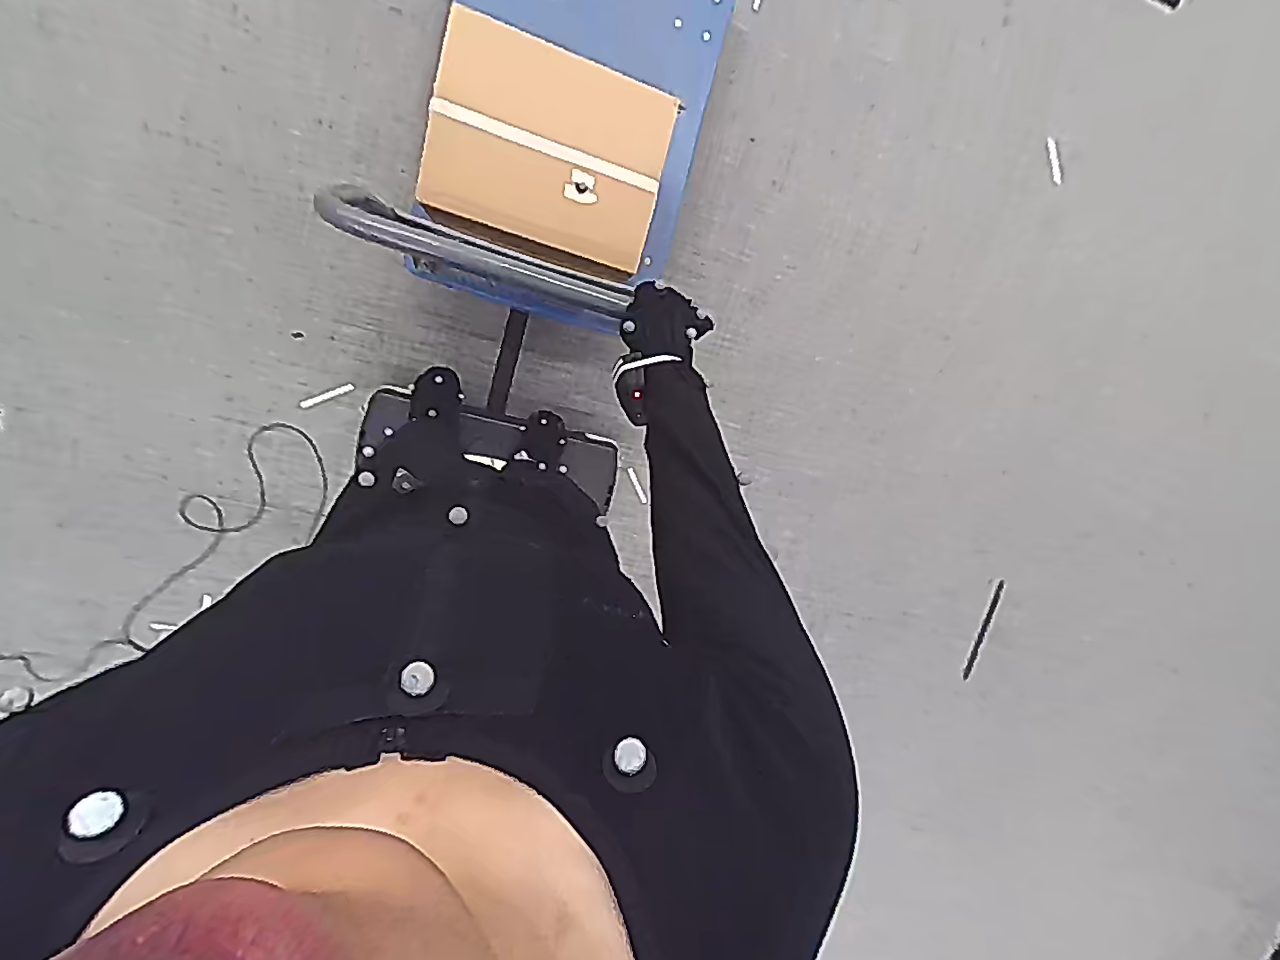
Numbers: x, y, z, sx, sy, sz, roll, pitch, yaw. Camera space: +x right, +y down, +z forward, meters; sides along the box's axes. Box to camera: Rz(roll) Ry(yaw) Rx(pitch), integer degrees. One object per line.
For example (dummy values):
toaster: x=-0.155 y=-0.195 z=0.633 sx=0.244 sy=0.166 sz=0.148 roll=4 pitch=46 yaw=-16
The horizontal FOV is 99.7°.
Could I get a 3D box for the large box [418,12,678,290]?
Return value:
large box: x=-0.189 y=-0.607 z=1.086 sx=0.408 sy=0.320 sz=0.320 roll=13 pitch=101 yaw=-15
